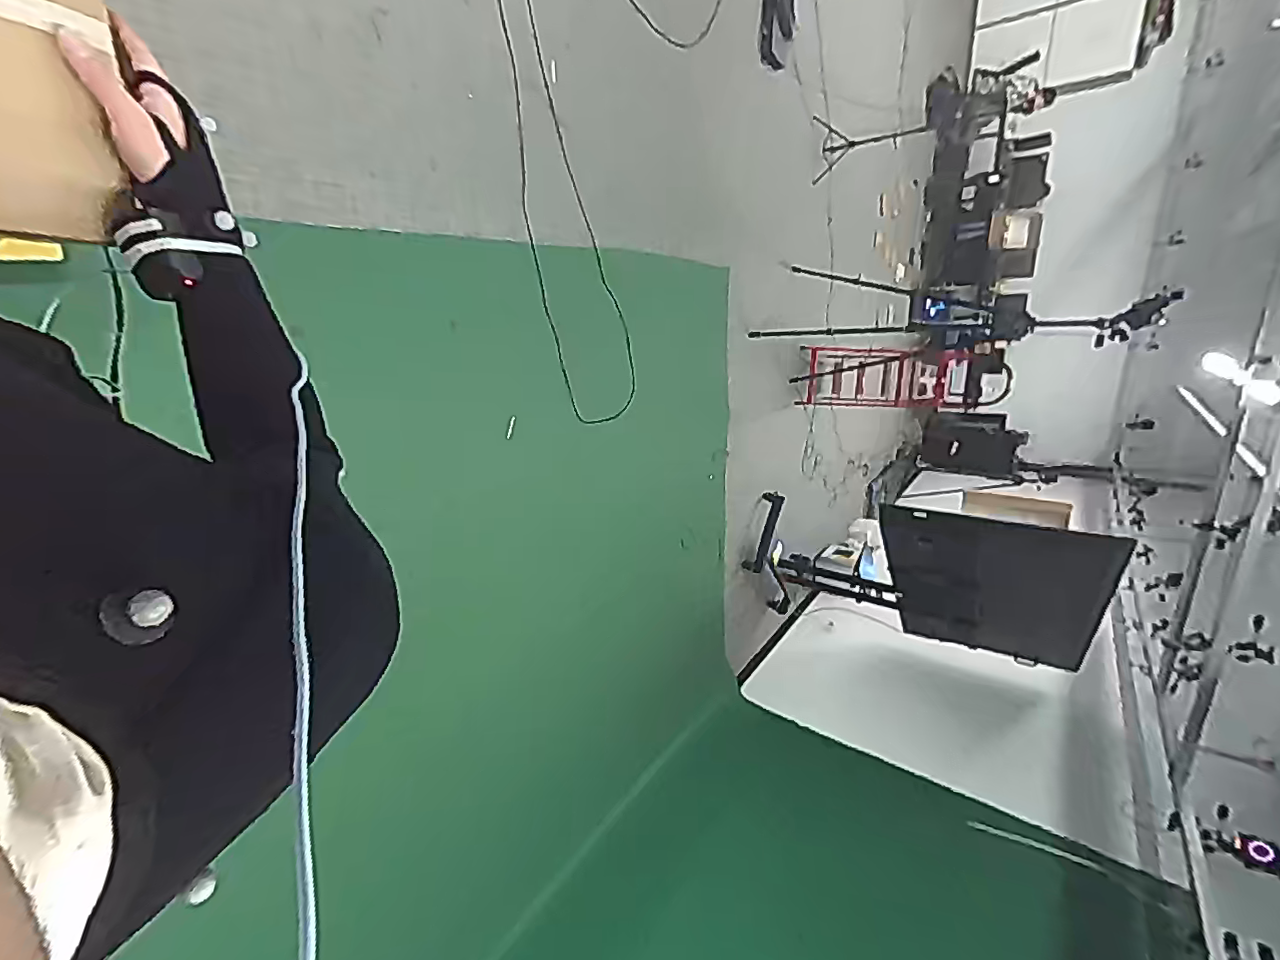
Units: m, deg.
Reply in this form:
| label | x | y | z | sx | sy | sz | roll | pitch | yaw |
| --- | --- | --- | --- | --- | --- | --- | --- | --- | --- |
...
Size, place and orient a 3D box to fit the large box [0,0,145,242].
| label | x | y | z | sx | sy | sz | roll | pitch | yaw |
| --- | --- | --- | --- | --- | --- | --- | --- | --- | --- |
| large box | -0.671 | -0.362 | 0.373 | 0.408 | 0.320 | 0.320 | -16 | 118 | -52 |
